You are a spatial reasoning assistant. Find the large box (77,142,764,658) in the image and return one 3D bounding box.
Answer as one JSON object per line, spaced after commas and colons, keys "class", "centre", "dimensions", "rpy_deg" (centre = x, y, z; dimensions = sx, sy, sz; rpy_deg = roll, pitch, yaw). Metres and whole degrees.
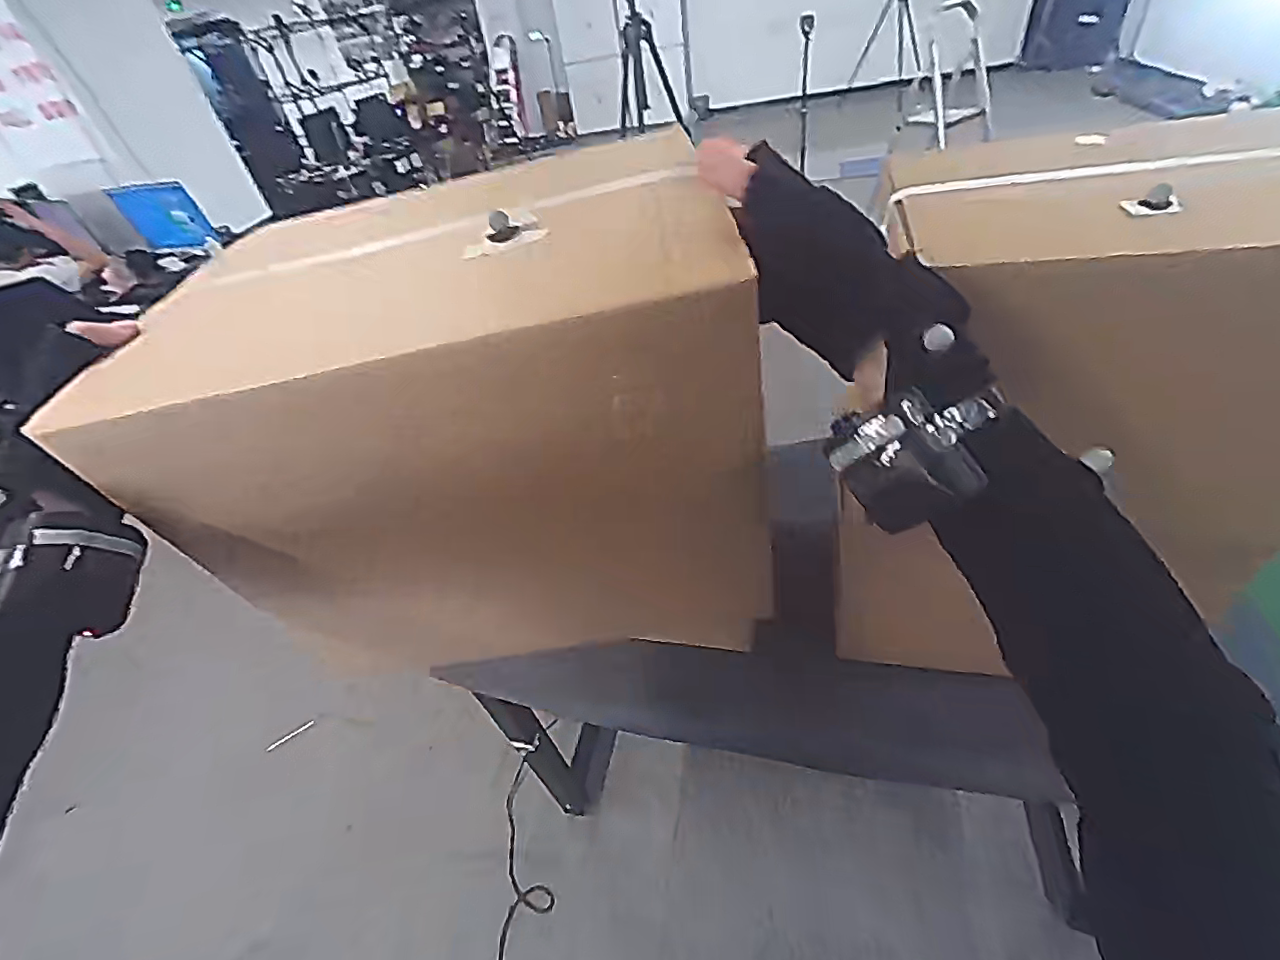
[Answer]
{"class": "large box", "centre": [-0.117, -0.066, 0.506], "dimensions": [0.408, 0.320, 0.320], "rpy_deg": [-9, 46, 4]}
